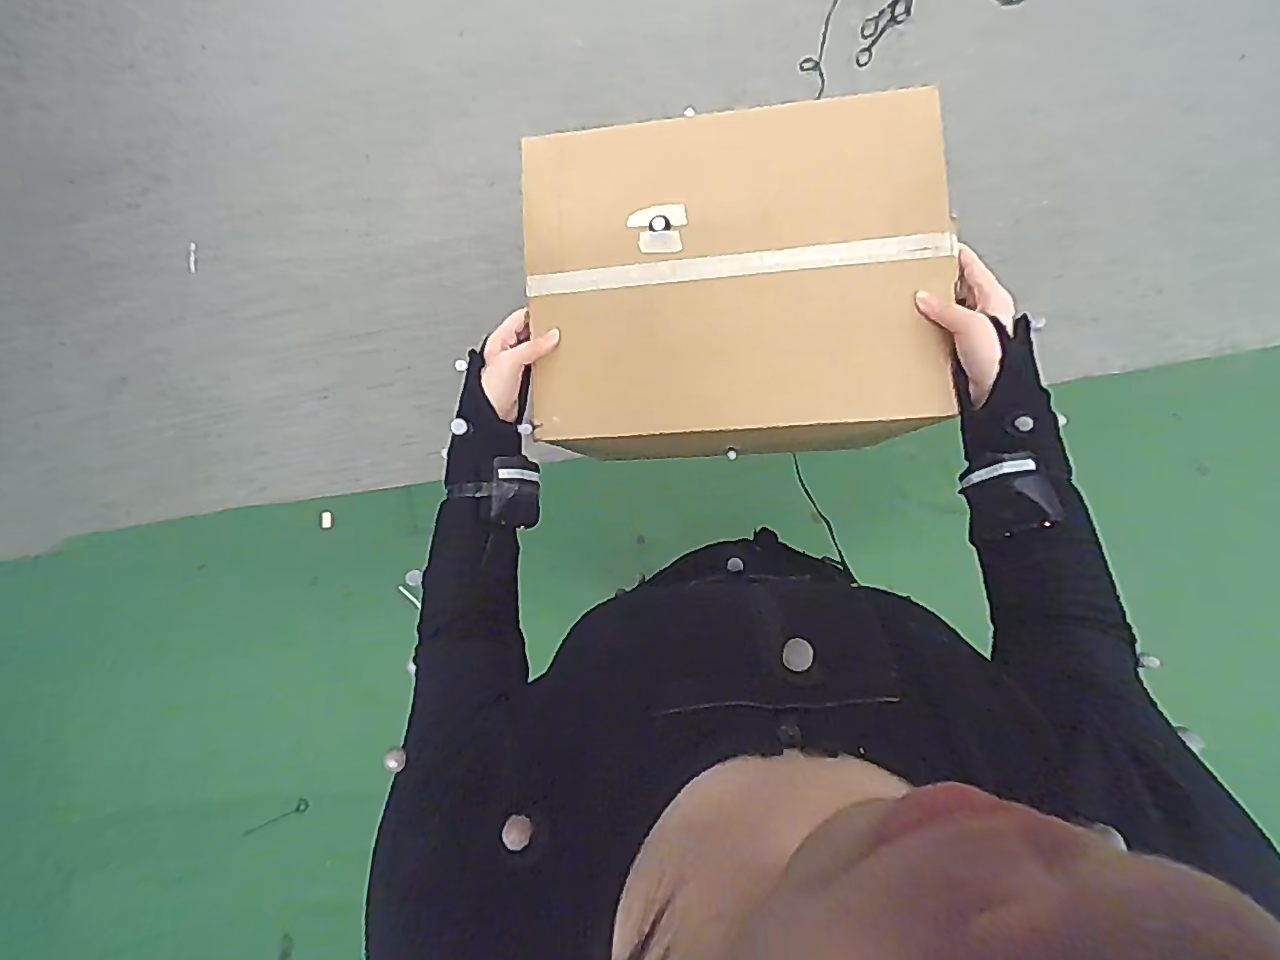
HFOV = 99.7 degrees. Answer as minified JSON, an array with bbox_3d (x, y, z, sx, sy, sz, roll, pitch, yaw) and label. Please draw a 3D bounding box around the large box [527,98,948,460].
[{"bbox_3d":[0.108,-0.197,0.686,0.408,0.320,0.320,-3,87,9],"label":"large box"}]
